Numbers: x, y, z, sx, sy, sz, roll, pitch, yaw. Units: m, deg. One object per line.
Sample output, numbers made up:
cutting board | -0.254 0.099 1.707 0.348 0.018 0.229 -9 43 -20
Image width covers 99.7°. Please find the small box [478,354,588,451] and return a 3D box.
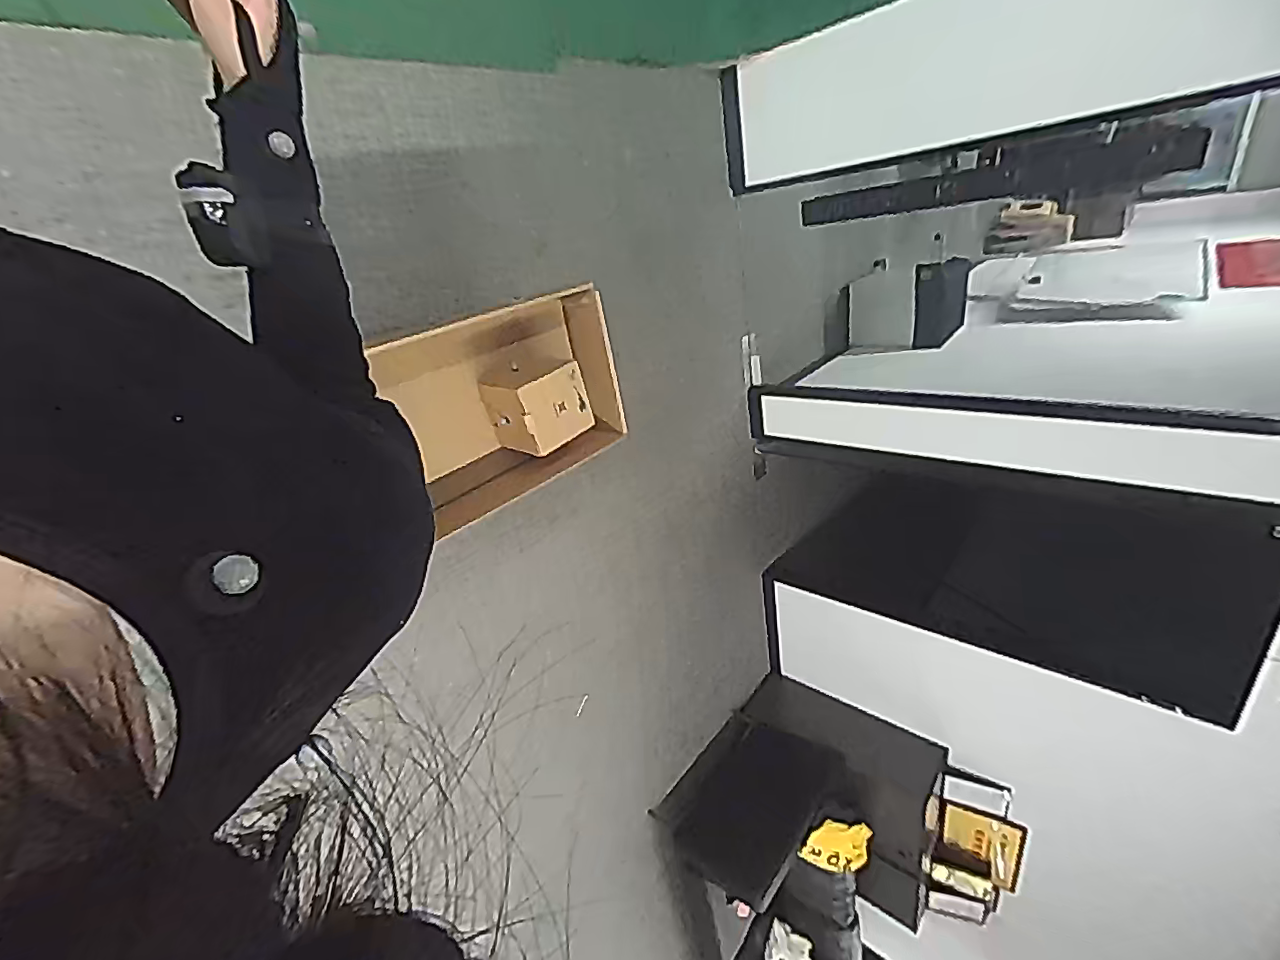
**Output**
small box | -0.257 -0.188 1.271 0.179 0.176 0.168 -35 126 -34
